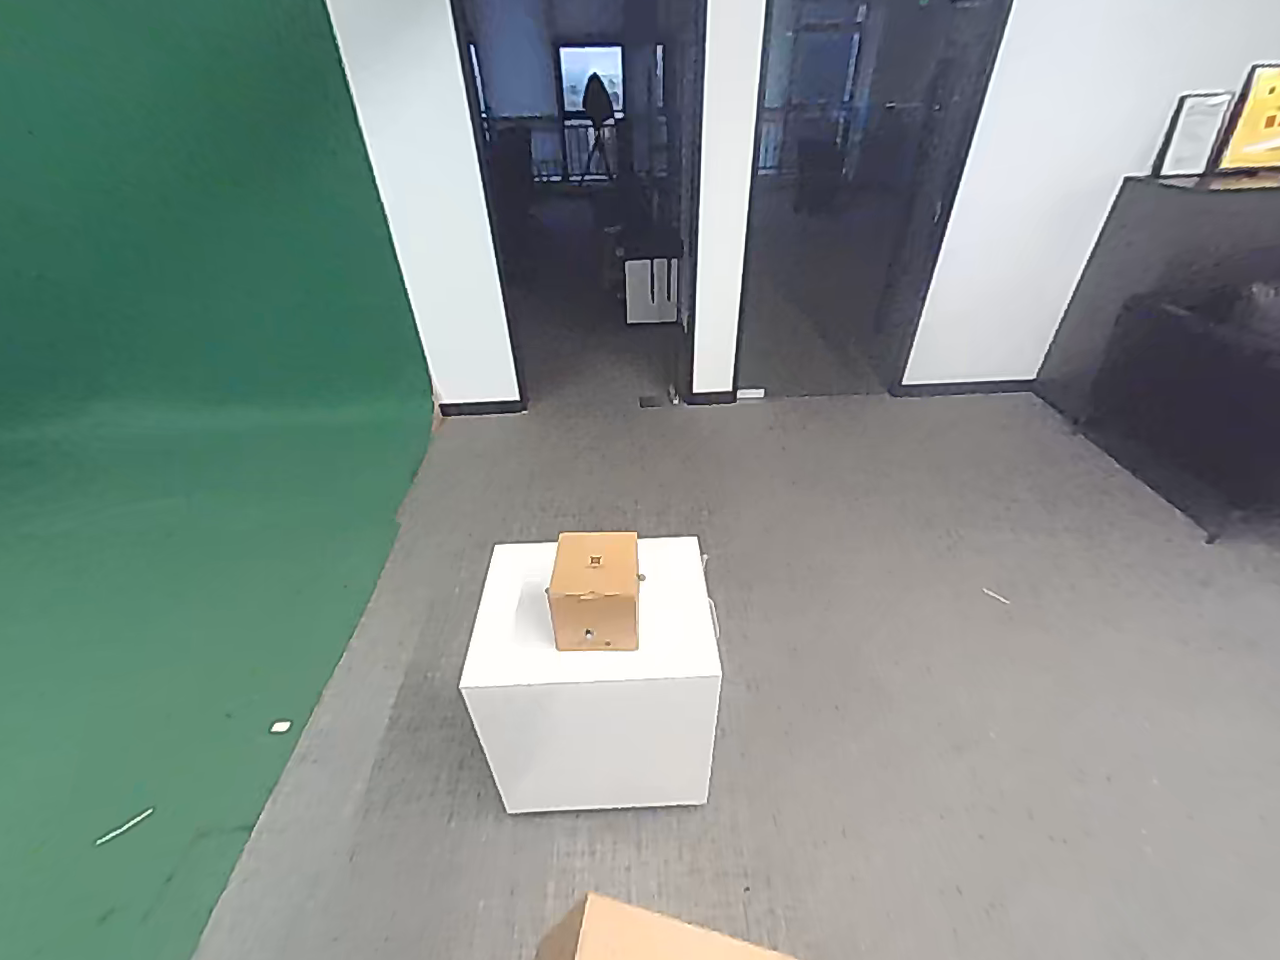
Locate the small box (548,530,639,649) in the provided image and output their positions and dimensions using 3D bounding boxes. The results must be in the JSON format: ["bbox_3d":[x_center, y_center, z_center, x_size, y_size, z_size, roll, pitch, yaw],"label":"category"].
[{"bbox_3d":[-0.087,0.221,1.105,0.168,0.176,0.179,-1,35,1],"label":"small box"}]
